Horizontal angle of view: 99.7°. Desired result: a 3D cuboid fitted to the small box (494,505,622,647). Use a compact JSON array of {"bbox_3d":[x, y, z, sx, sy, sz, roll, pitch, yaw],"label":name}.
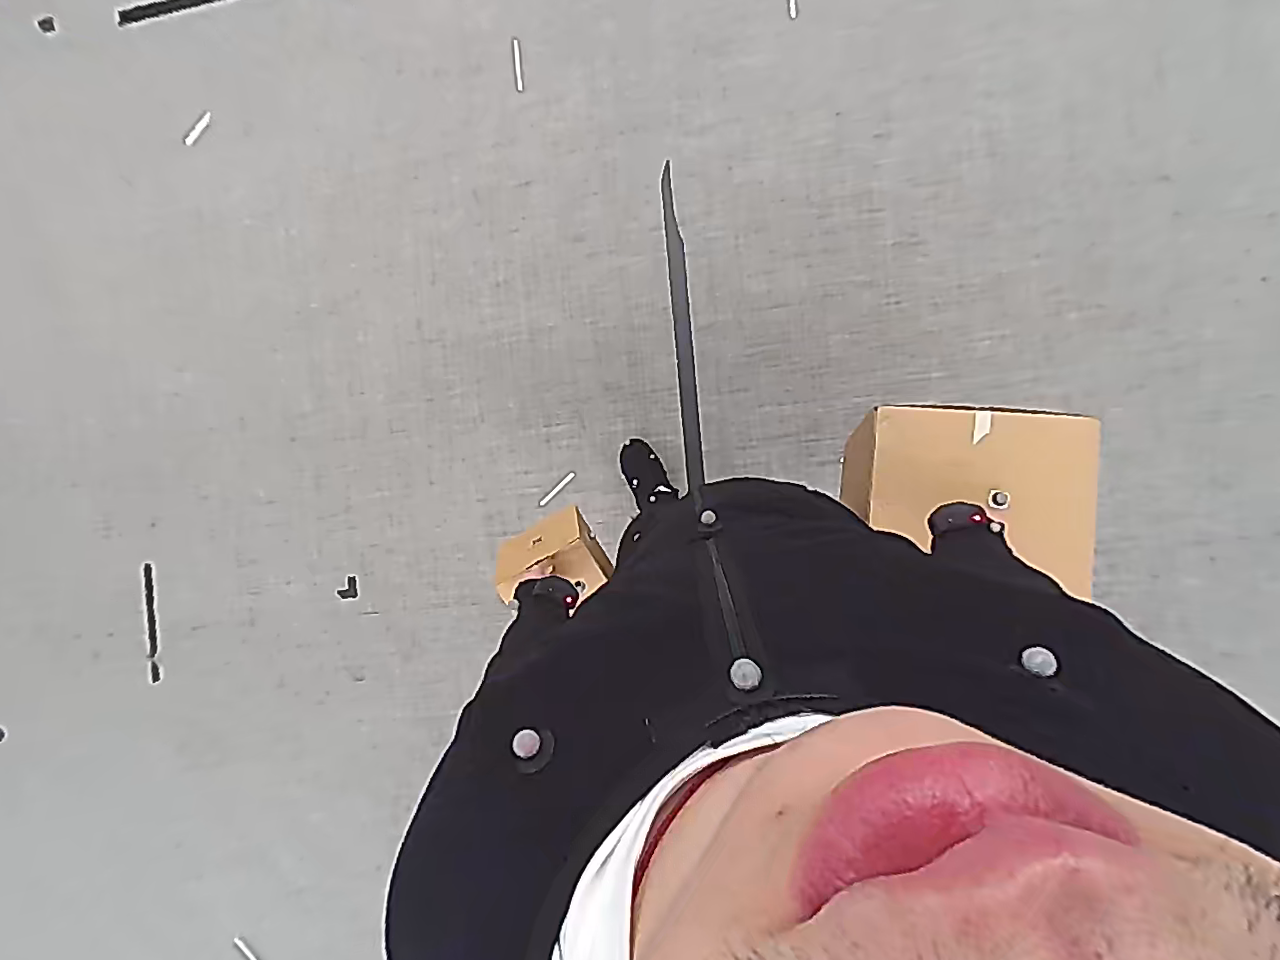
[{"bbox_3d":[-0.146,0.179,0.995,0.168,0.179,0.176,-29,109,0],"label":"small box"}]
